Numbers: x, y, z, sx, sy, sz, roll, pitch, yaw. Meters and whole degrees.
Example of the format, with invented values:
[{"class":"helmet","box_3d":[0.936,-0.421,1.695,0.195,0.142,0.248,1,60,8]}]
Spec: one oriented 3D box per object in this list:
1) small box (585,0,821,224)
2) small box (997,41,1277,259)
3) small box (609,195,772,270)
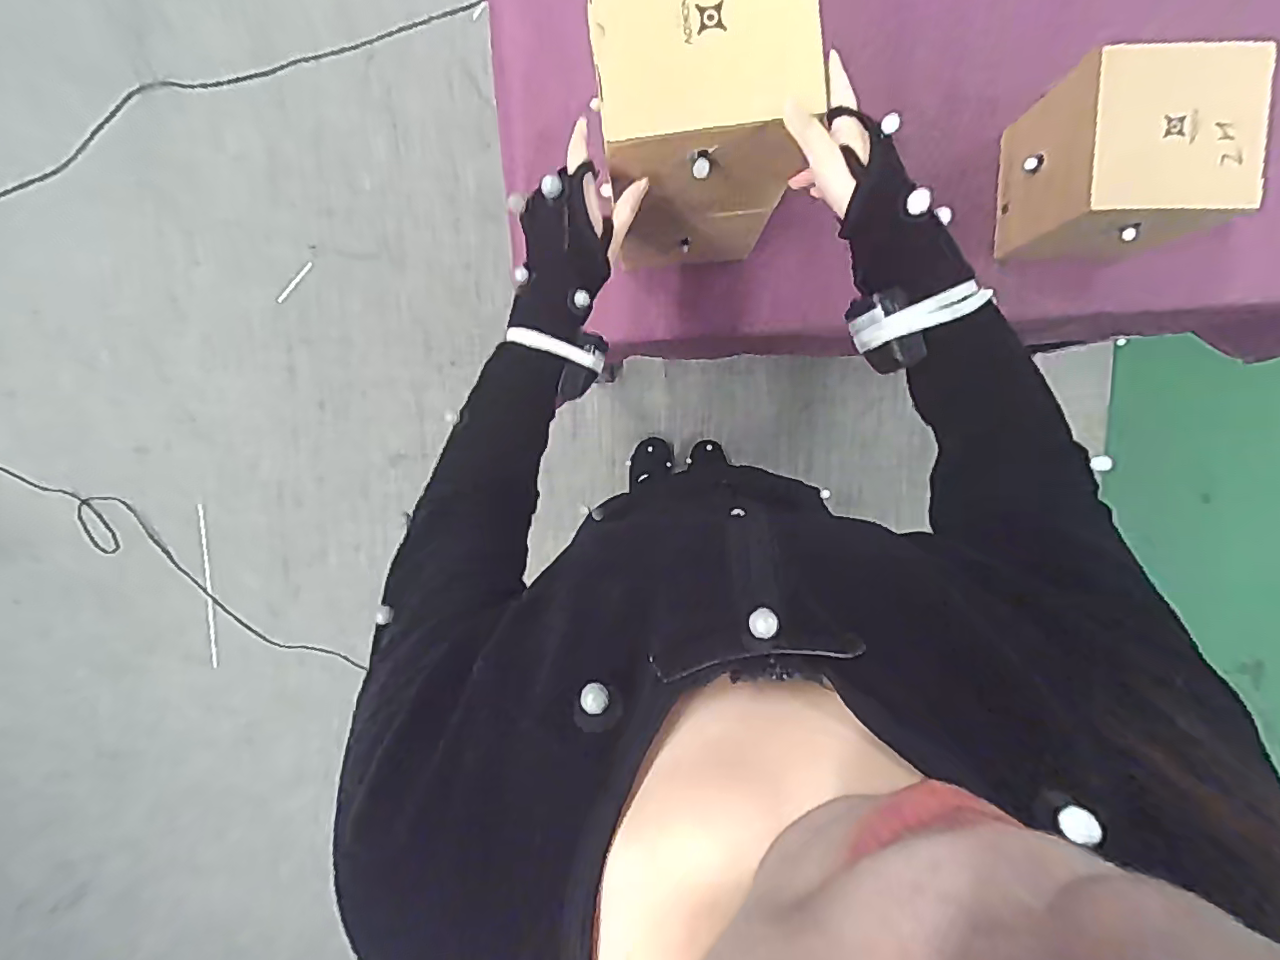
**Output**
[{"class":"small box","box_3d":[0.049,-0.355,0.492,0.179,0.176,0.168,-6,94,3]},{"class":"small box","box_3d":[0.558,-0.369,0.635,0.179,0.176,0.168,1,95,2]},{"class":"small box","box_3d":[0.052,-0.367,0.654,0.179,0.176,0.168,-5,94,4]}]
